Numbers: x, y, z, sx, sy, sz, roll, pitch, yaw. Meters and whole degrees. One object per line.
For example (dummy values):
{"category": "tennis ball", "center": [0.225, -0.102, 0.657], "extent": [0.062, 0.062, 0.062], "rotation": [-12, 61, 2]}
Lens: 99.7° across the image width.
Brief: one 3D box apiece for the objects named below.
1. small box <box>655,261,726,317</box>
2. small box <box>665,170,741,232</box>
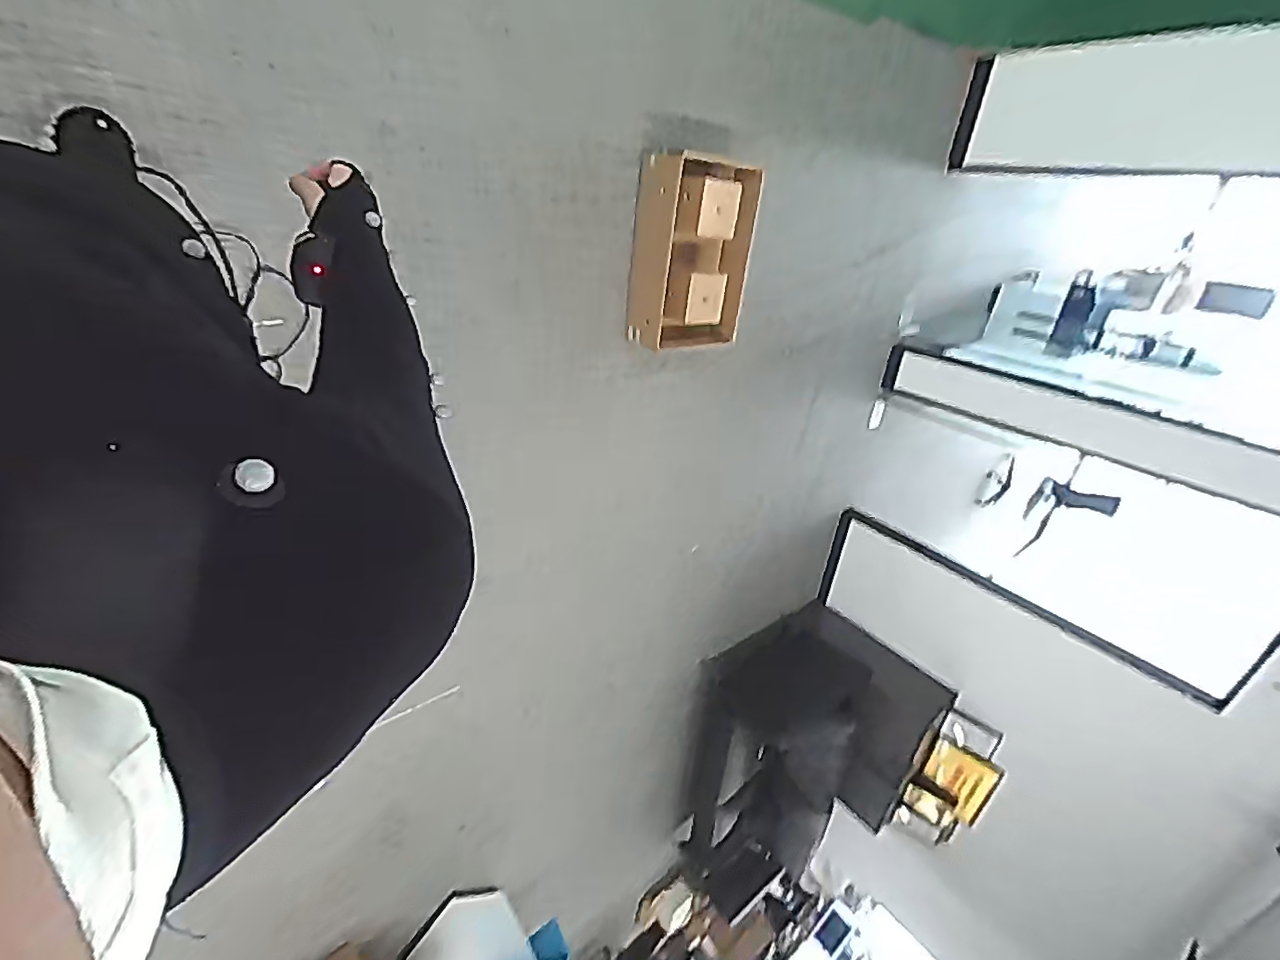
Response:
{"category": "small box", "center": [0.176, -0.685, 1.939], "extent": [0.179, 0.176, 0.168], "rotation": [-14, 124, -37]}
{"category": "small box", "center": [0.204, -0.933, 1.808], "extent": [0.179, 0.176, 0.168], "rotation": [-16, 126, -37]}
